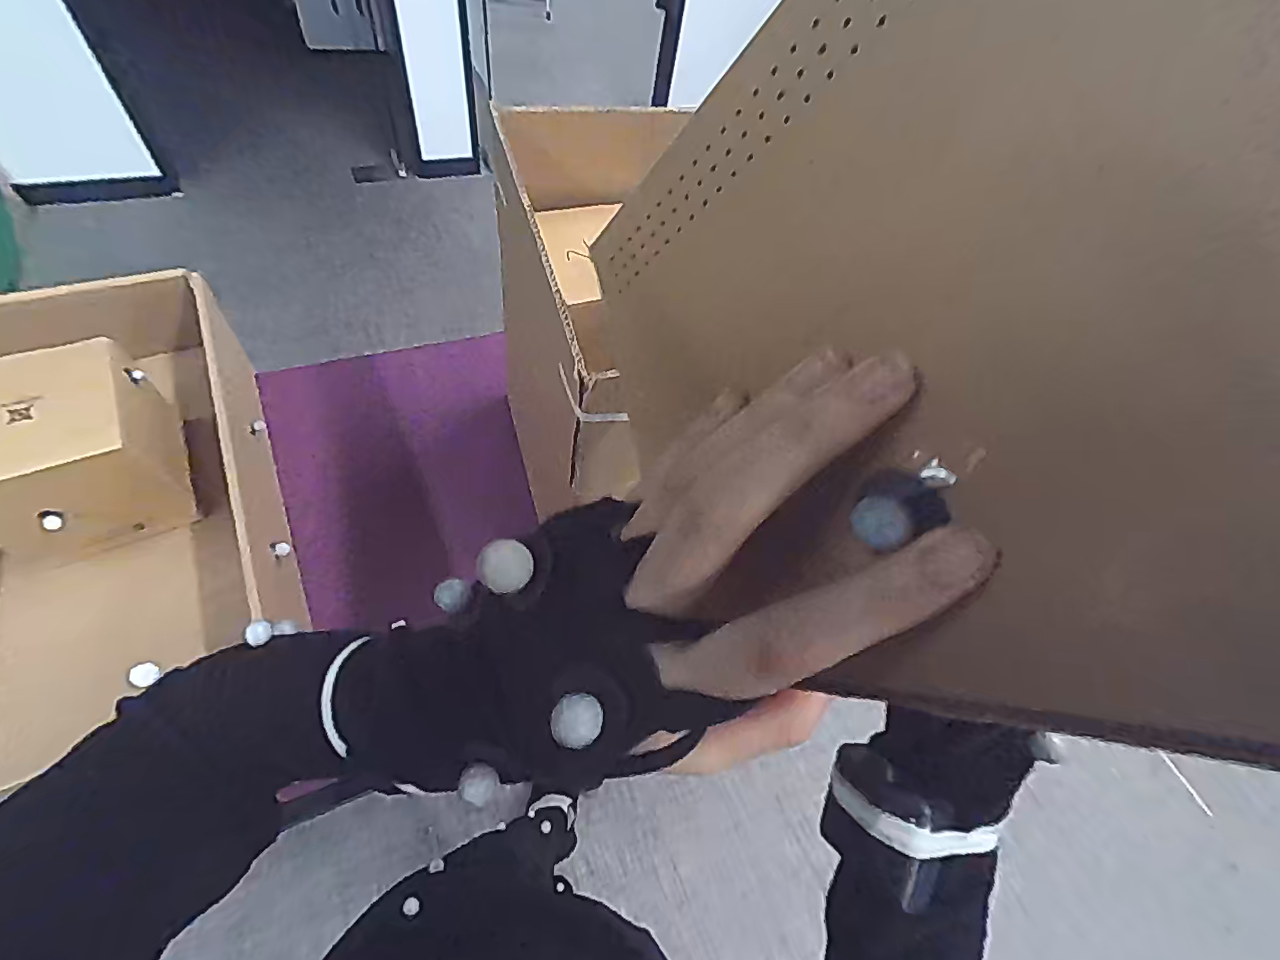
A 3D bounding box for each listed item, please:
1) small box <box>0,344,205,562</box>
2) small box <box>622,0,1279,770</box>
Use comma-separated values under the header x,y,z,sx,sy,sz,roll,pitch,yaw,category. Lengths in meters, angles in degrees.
x,y,z,sx,sy,sz,roll,pitch,yaw,category
-0.656,-0.023,0.639,0.168,0.176,0.179,-22,64,-21,small box
0.110,-0.037,0.179,0.168,0.179,0.176,-7,83,-32,small box
